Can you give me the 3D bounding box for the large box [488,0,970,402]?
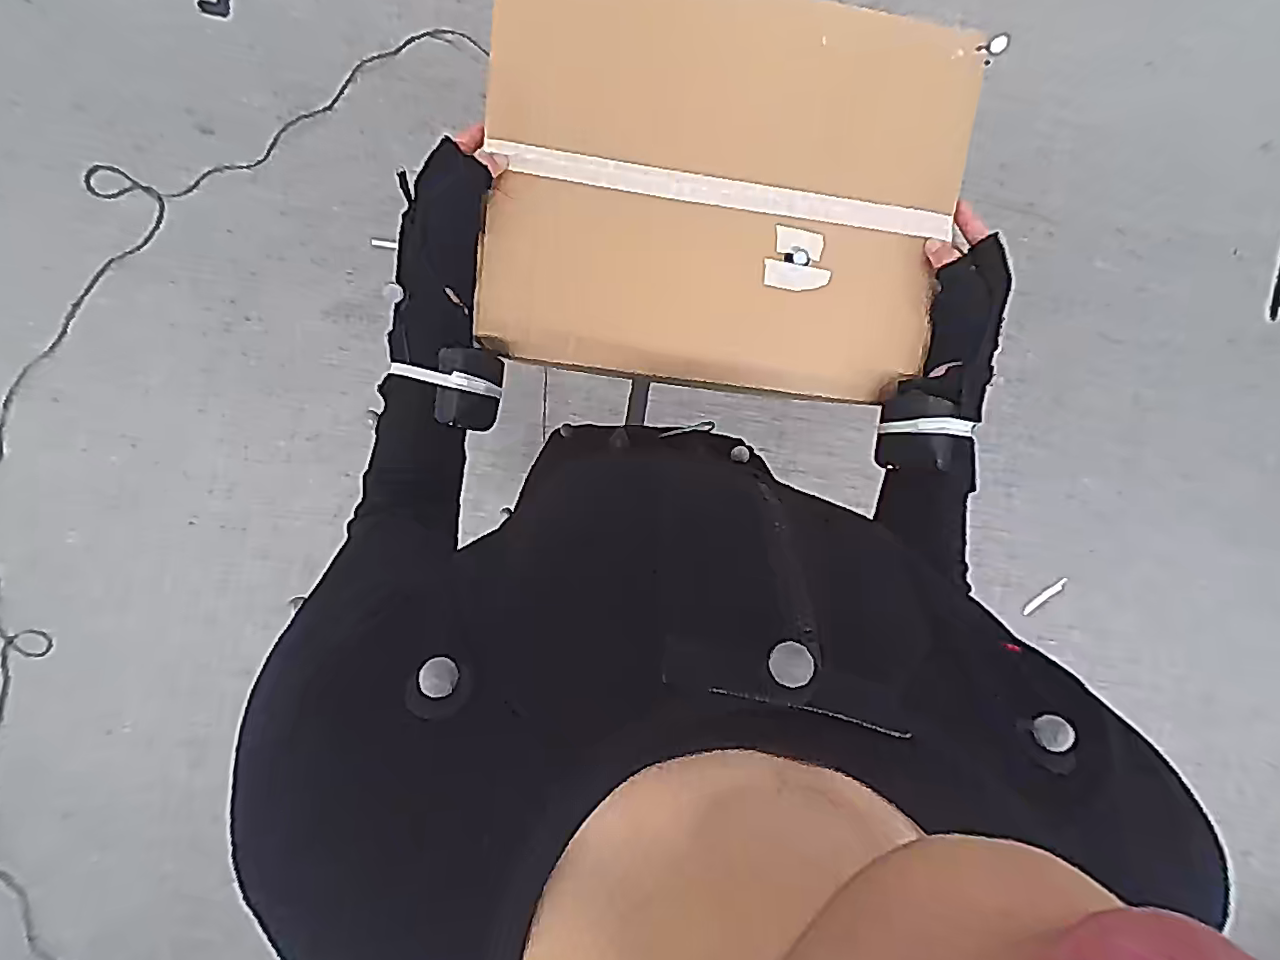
[{"bbox_3d":[0.060,-0.269,0.617,0.408,0.320,0.320,6,101,-7],"label":"large box"}]
